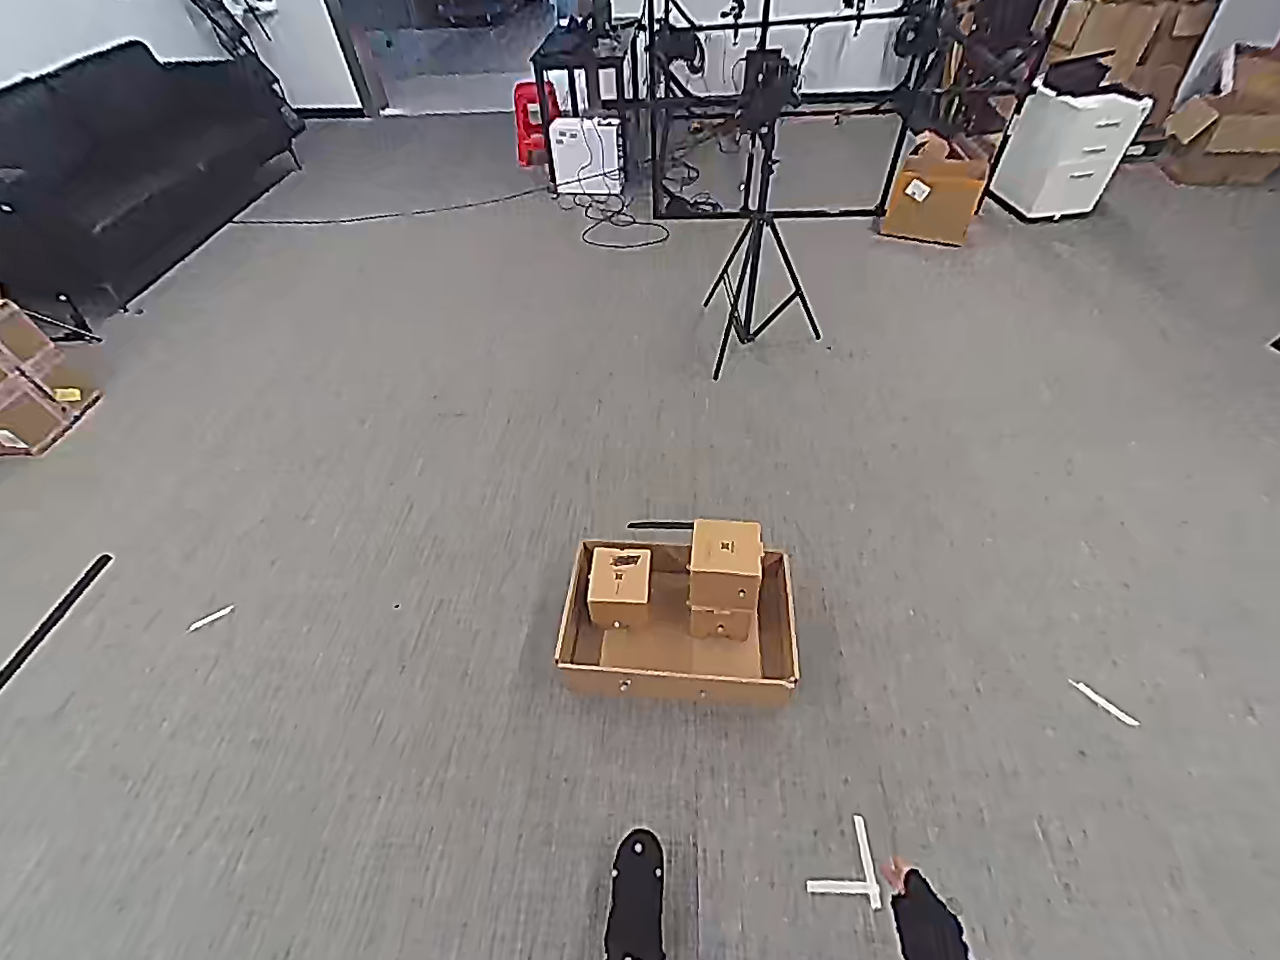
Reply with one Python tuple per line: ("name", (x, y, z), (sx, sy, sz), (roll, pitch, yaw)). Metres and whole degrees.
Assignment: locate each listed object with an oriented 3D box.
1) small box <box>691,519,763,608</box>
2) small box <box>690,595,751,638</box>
("small box", (0.226, 0.222, 1.419), (0.179, 0.176, 0.168), (2, 47, 8))
("small box", (0.232, 0.334, 1.540), (0.168, 0.176, 0.179), (1, 50, 9))
